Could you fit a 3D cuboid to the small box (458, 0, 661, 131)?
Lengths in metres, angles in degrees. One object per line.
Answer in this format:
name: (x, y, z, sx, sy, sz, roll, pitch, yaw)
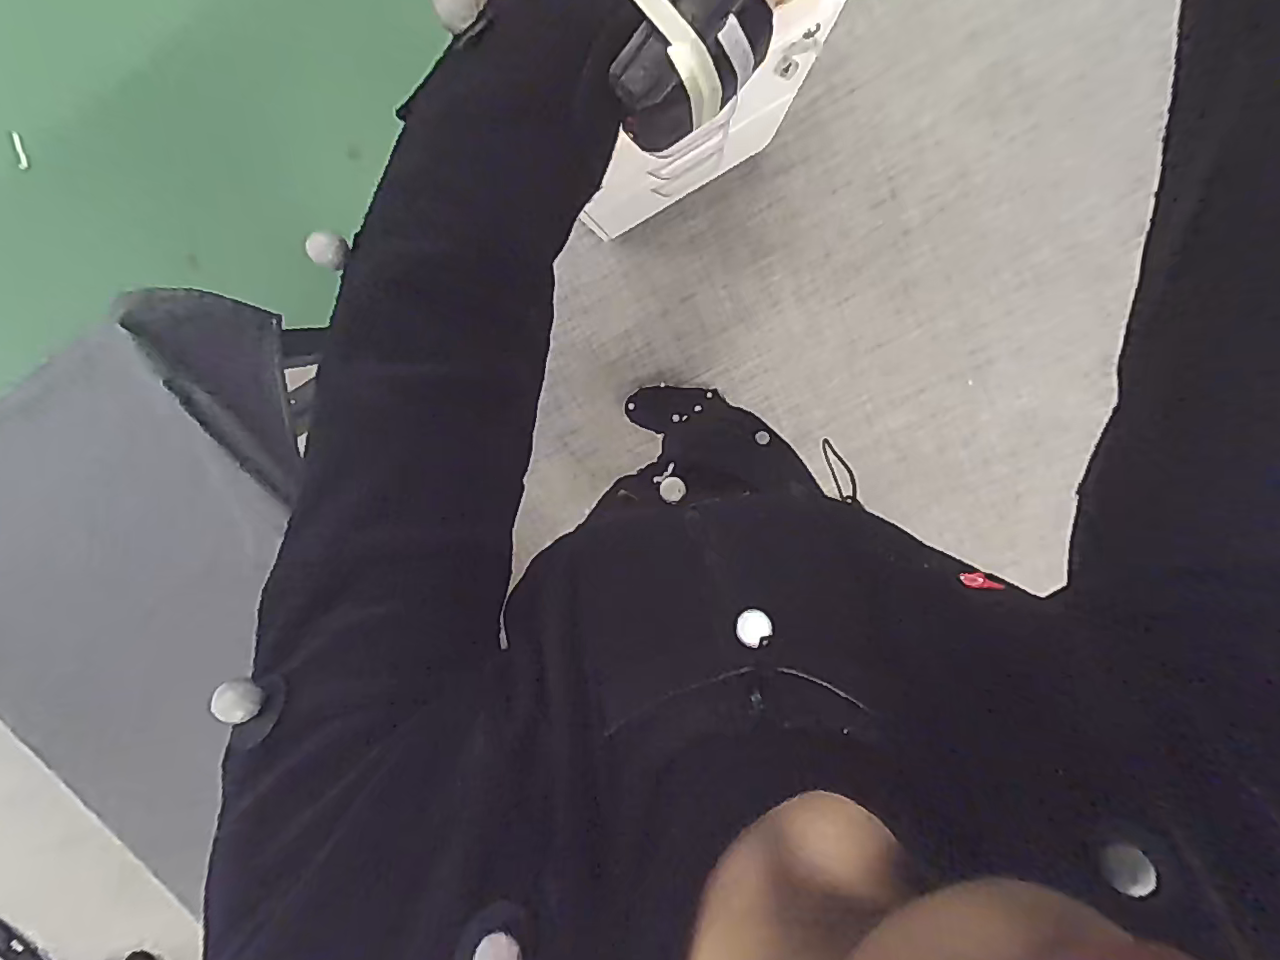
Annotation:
small box: (-0.085, -0.484, 0.537, 0.168, 0.176, 0.179, -26, 103, 10)
